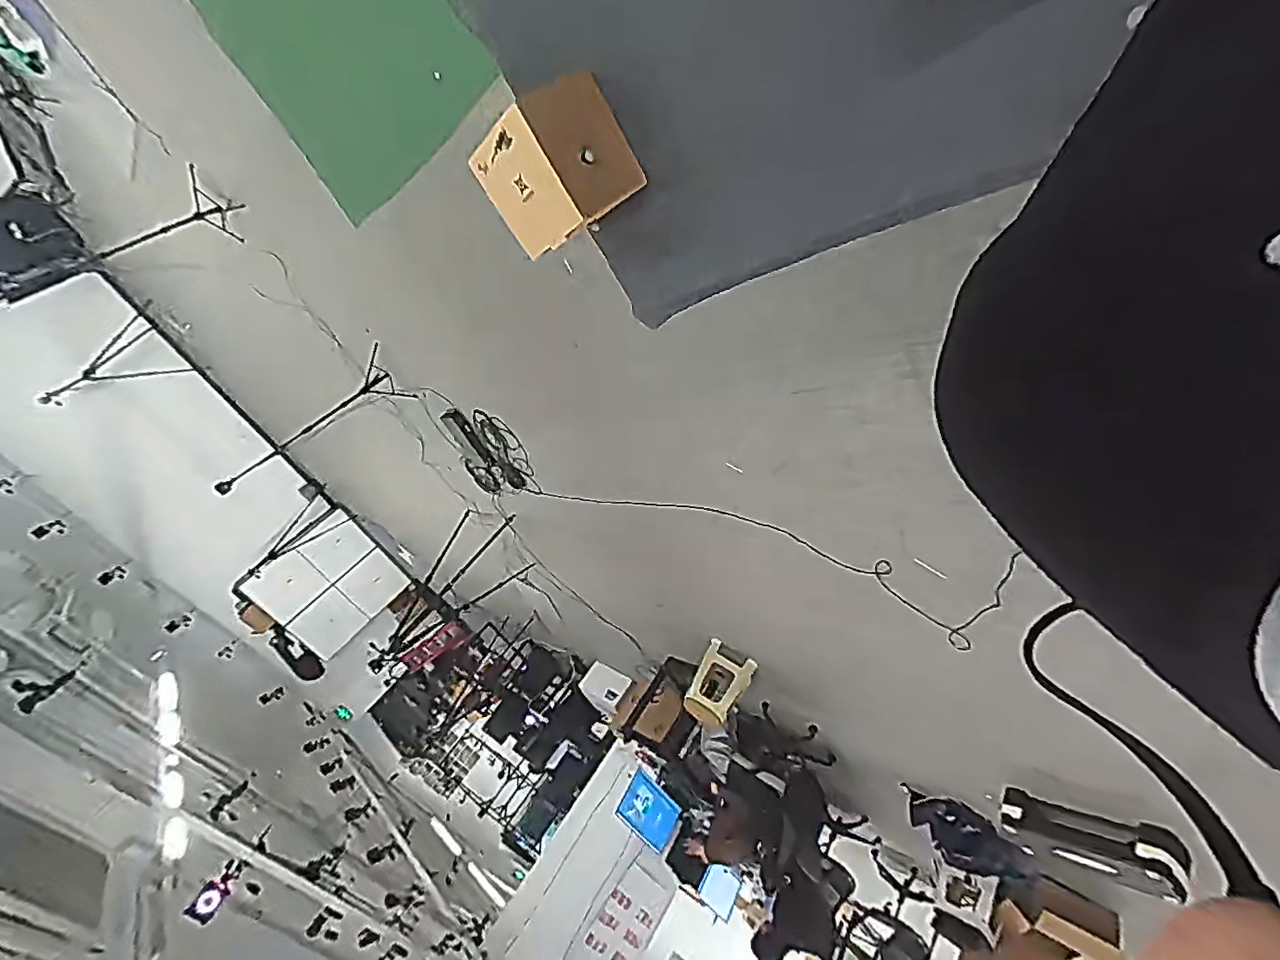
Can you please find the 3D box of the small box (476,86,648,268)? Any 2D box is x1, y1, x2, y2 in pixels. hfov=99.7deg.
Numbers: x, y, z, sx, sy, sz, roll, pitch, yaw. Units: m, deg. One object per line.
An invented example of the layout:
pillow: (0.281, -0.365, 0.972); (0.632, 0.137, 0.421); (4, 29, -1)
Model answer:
small box: (-0.119, -0.480, 0.866); (0.168, 0.176, 0.179); (-6, 126, 49)
